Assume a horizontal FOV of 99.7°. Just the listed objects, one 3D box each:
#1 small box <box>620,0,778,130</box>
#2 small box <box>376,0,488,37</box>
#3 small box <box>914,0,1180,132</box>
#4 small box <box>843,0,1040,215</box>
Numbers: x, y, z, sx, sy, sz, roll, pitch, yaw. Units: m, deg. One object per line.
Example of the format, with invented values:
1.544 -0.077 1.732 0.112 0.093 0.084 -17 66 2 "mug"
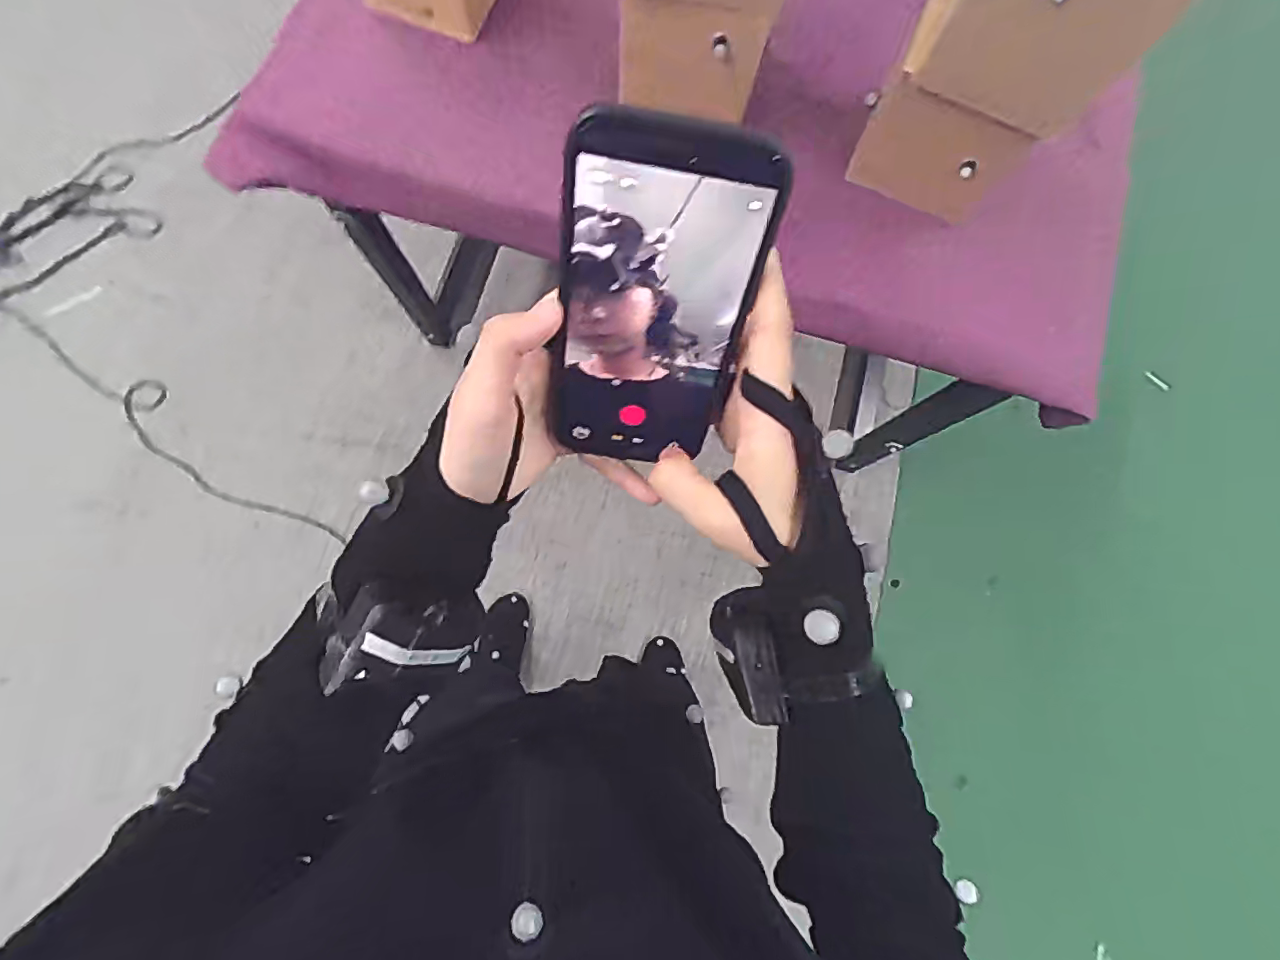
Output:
0.080 -0.601 0.702 0.179 0.176 0.168 18 79 1 "small box"
-0.284 -0.743 0.710 0.168 0.176 0.179 19 79 0 "small box"
0.411 -0.494 0.536 0.179 0.176 0.168 24 79 1 "small box"
0.399 -0.481 0.699 0.179 0.176 0.168 24 79 2 "small box"
